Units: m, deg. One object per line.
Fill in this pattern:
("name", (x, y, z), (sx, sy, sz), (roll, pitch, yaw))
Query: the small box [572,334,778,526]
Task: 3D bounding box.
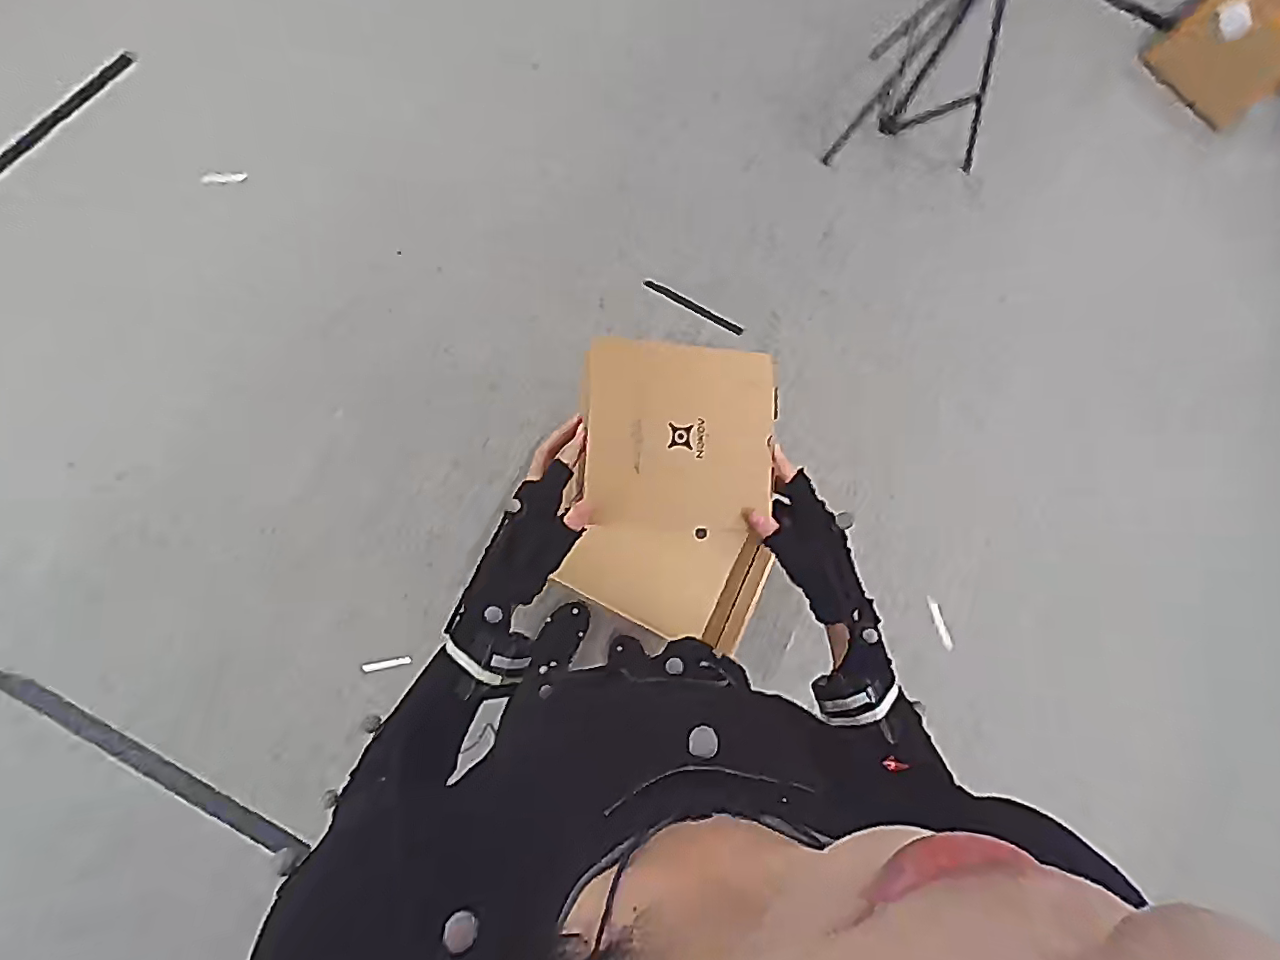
("small box", (0.025, -0.041, 0.555), (0.179, 0.176, 0.168), (1, 88, -10))
